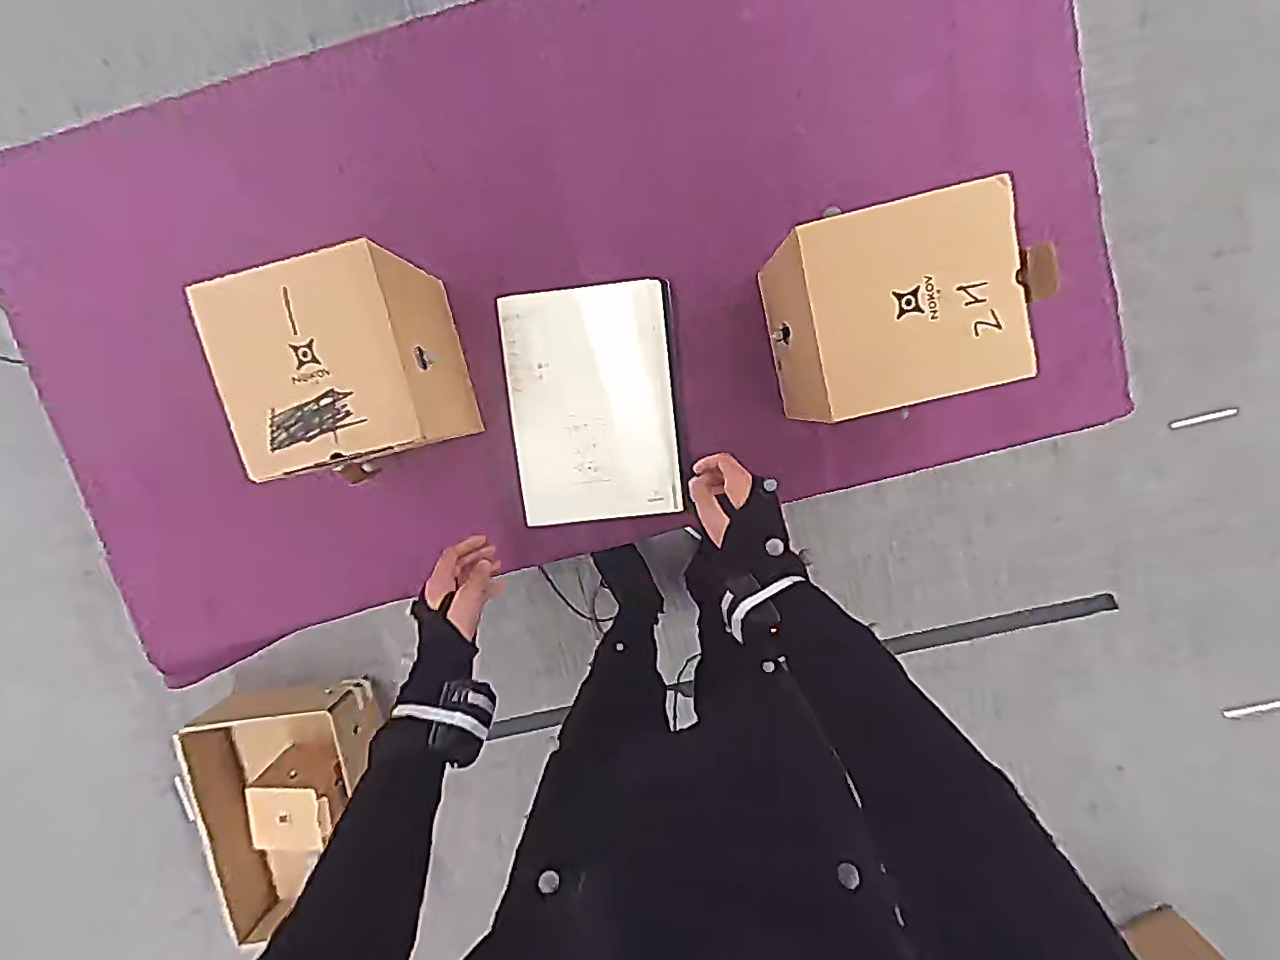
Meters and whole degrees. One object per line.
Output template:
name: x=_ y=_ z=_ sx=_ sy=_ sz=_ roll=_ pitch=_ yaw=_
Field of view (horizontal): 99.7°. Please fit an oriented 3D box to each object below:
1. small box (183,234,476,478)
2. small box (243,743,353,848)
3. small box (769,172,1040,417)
small box: x=-0.282 y=-0.113 z=0.537 sx=0.168 sy=0.176 sz=0.179 roll=-13 pitch=97 yaw=3
small box: x=-0.852 y=0.792 z=1.369 sx=0.179 sy=0.176 sz=0.168 roll=0 pitch=98 yaw=1
small box: x=0.230 y=-0.157 z=0.516 sx=0.179 sy=0.176 sz=0.168 roll=-12 pitch=98 yaw=3
